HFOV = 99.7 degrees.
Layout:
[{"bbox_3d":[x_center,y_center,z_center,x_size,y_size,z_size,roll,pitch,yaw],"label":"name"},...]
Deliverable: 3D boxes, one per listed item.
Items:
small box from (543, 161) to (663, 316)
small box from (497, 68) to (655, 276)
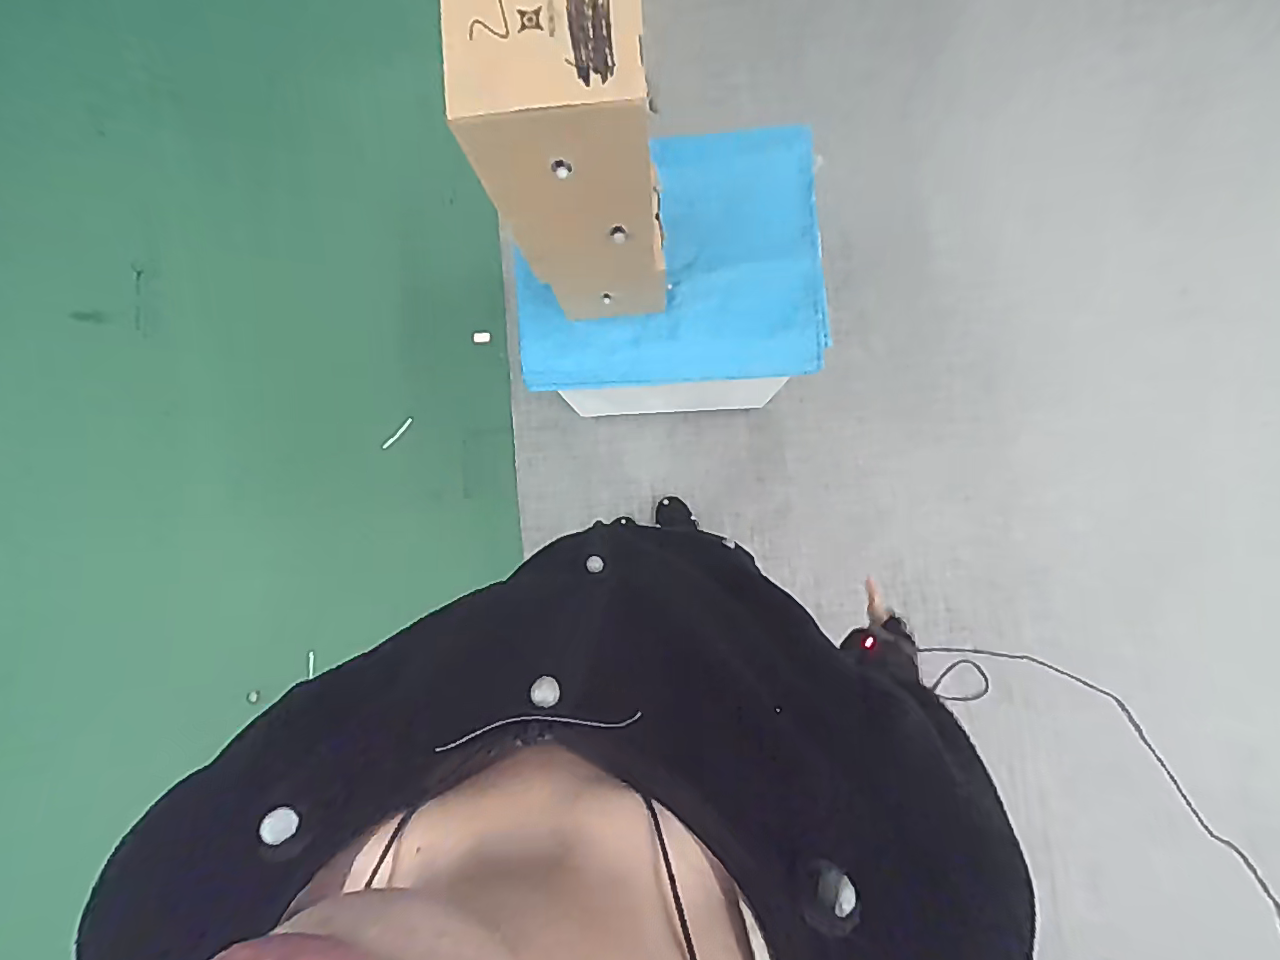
[{"bbox_3d":[-0.056,-0.375,0.863,0.179,0.176,0.168,-4,86,3],"label":"small box"},{"bbox_3d":[-0.073,-0.382,0.699,0.179,0.176,0.168,-4,86,2],"label":"small box"}]
